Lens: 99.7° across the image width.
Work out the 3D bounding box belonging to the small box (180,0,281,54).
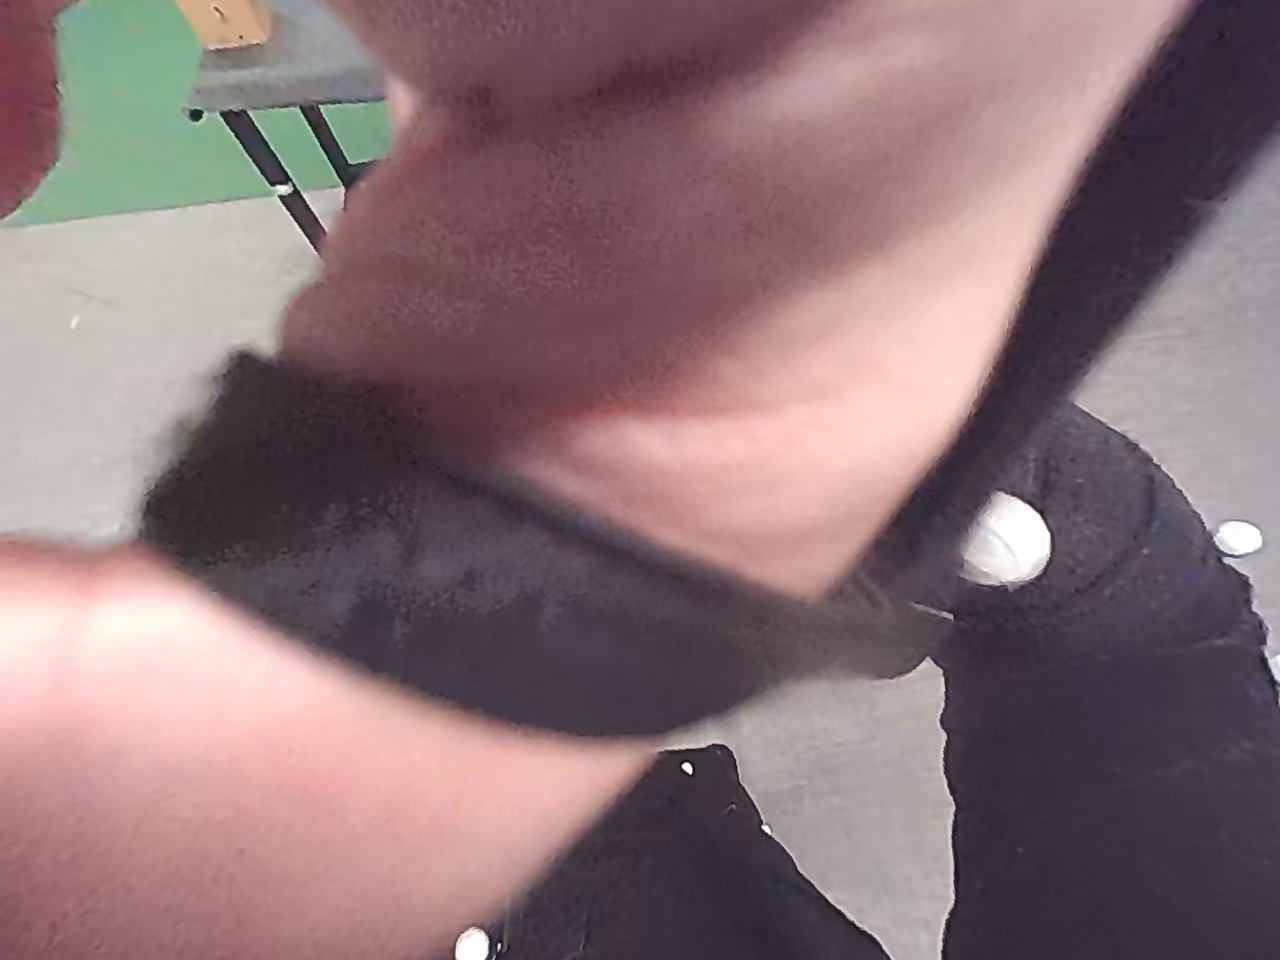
[{"bbox_3d":[-1.093,-1.274,1.442,0.168,0.176,0.179,-11,64,-5],"label":"small box"}]
